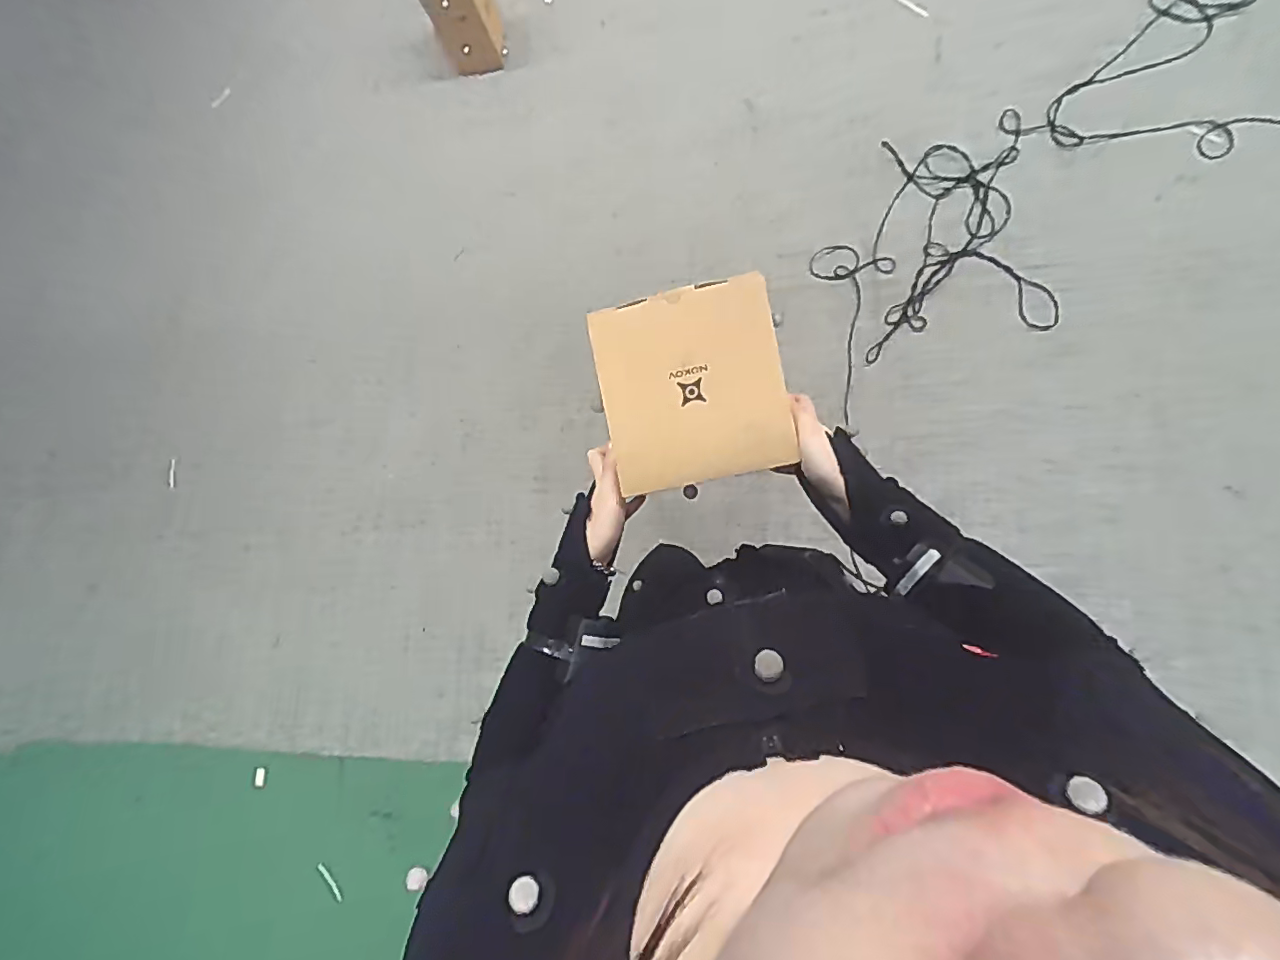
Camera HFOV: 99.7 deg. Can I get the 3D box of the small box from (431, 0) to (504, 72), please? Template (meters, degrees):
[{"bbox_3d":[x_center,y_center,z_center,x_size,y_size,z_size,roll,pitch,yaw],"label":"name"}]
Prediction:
[{"bbox_3d":[-0.556,-1.485,1.766,0.179,0.176,0.168,-1,82,10],"label":"small box"}]

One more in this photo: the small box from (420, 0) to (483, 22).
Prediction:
[{"bbox_3d":[-0.576,-1.509,1.604,0.168,0.176,0.179,-1,82,8],"label":"small box"}]

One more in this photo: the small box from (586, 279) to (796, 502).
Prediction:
[{"bbox_3d":[0.055,-0.080,0.566,0.168,0.176,0.179,-11,89,7],"label":"small box"}]
